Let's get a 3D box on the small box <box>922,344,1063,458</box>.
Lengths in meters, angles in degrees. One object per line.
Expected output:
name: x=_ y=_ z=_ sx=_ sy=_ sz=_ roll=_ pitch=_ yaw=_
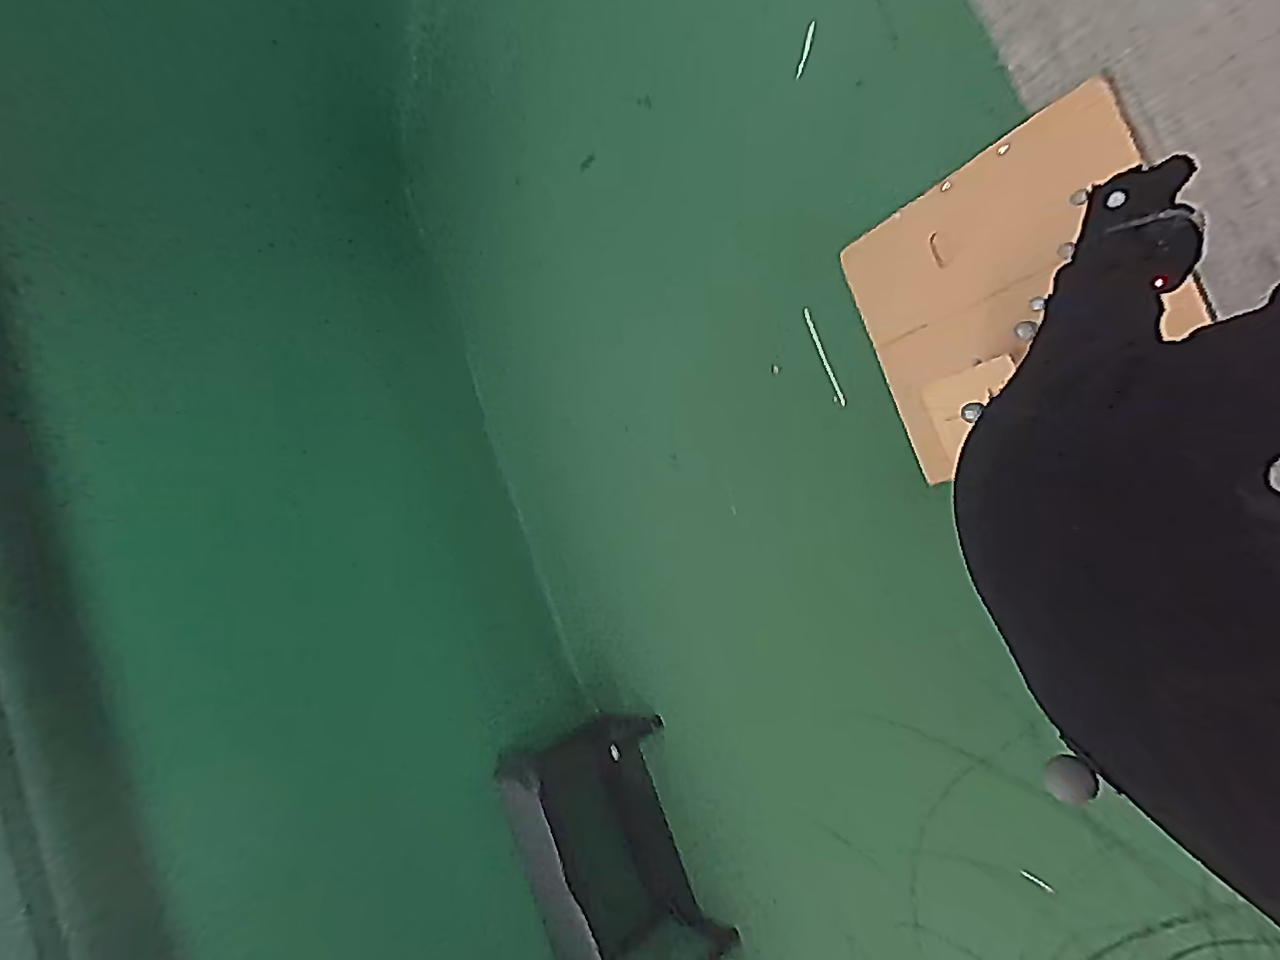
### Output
small box: x=0.717 y=-0.161 z=1.093 sx=0.179 sy=0.176 sz=0.168 roll=-25 pitch=85 yaw=54
